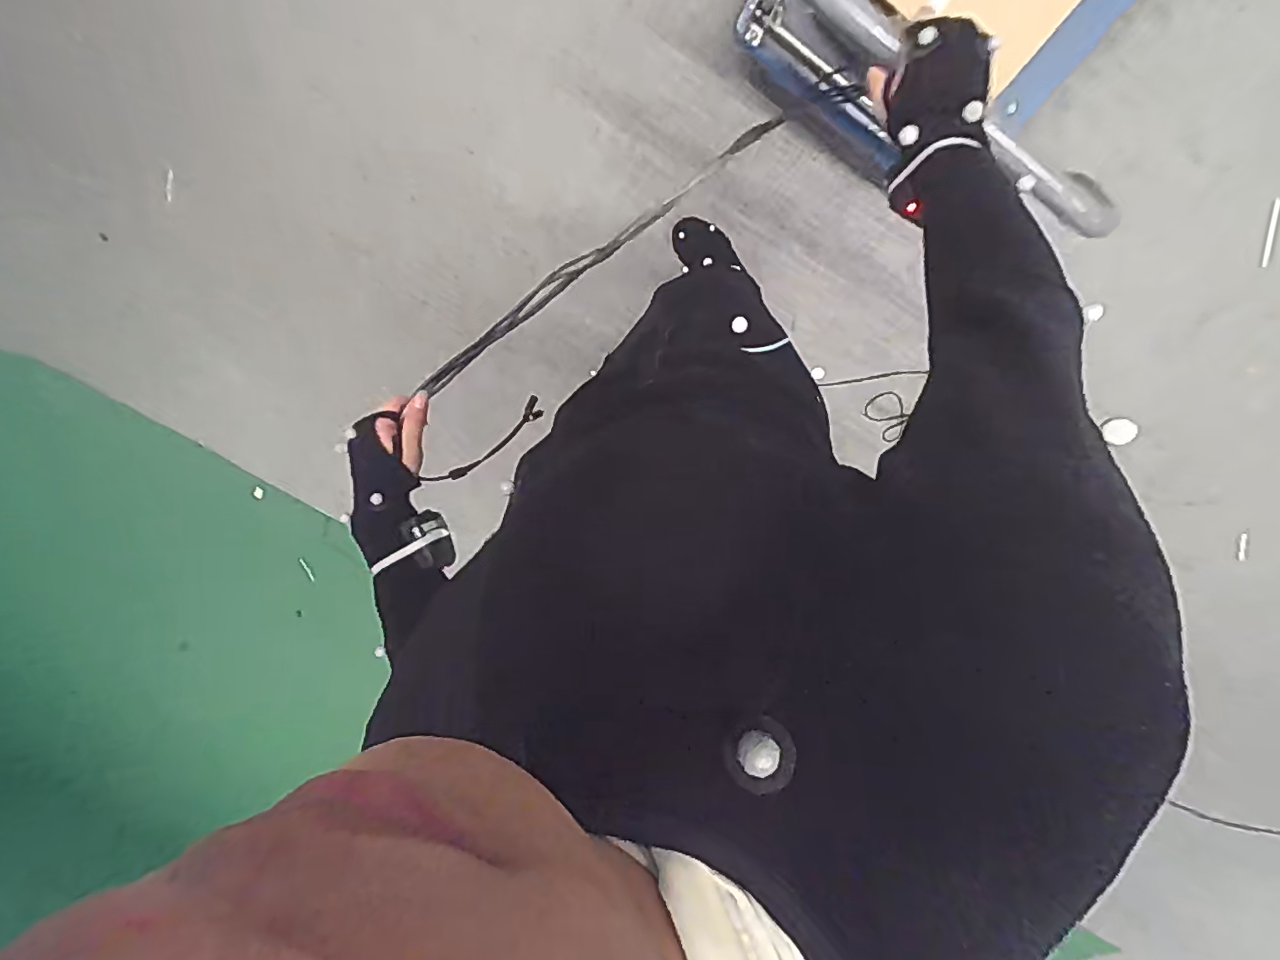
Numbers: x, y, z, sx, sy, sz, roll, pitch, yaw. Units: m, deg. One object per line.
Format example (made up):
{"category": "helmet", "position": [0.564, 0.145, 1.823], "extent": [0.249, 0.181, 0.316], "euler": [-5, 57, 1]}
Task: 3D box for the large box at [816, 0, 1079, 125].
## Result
{"category": "large box", "position": [0.535, -0.852, 0.829], "extent": [0.320, 0.320, 0.408], "euler": [35, 118, -9]}
